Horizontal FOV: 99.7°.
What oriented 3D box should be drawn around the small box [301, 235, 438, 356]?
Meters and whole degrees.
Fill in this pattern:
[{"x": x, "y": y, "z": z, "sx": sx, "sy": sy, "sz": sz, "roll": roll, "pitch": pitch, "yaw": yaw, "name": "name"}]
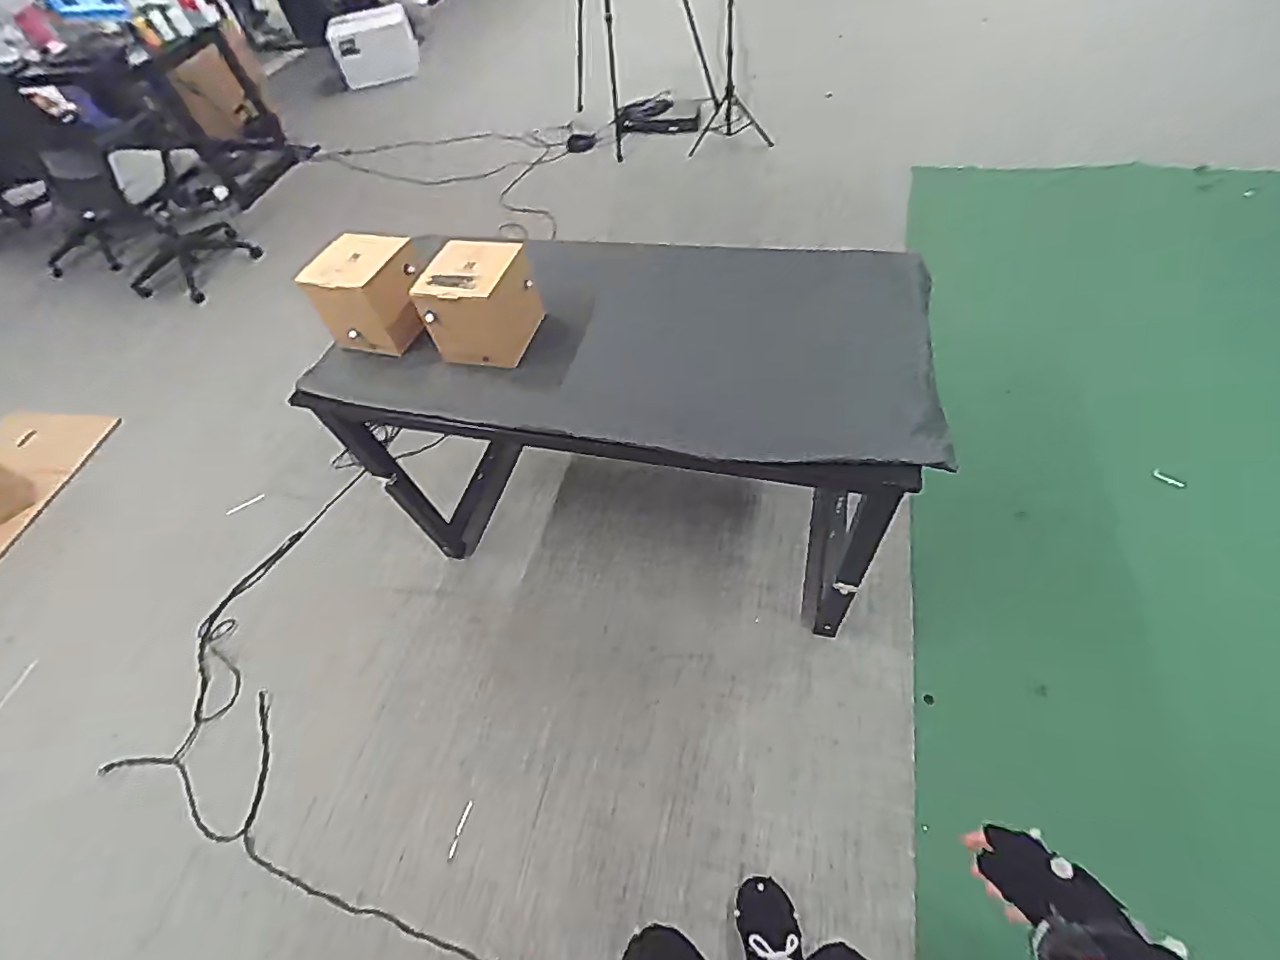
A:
[{"x": -0.559, "y": -0.392, "z": 1.150, "sx": 0.168, "sy": 0.176, "sz": 0.179, "roll": 11, "pitch": 56, "yaw": 16, "name": "small box"}]
